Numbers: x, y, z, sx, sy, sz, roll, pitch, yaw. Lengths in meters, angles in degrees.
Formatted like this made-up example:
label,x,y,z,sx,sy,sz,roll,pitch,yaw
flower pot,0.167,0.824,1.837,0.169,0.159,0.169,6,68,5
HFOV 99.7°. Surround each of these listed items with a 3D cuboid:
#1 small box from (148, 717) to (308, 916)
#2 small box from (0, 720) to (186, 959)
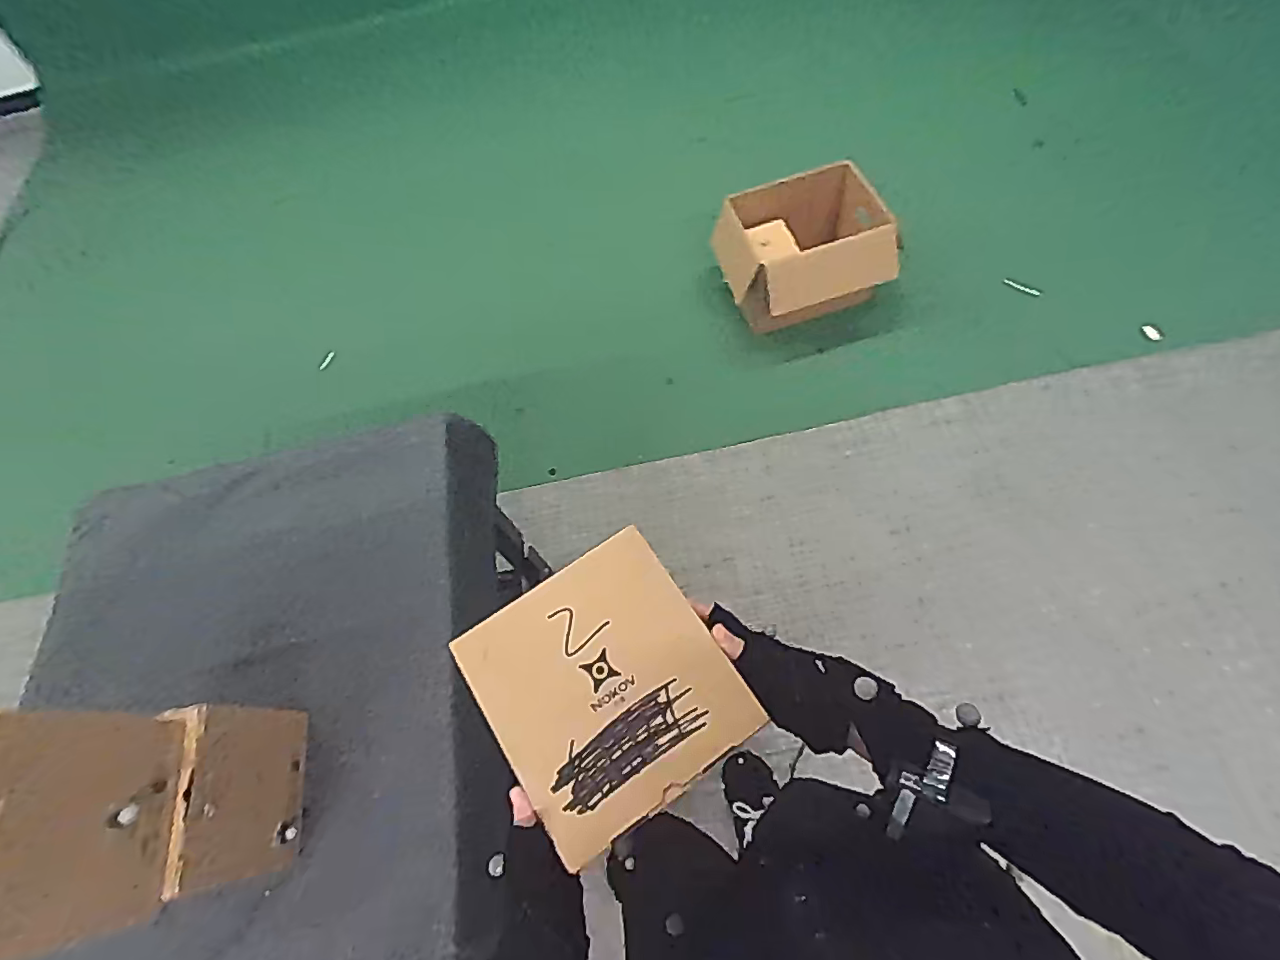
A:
label,x,y,z,sx,sy,sz,roll,pitch,yaw
small box,-0.499,0.364,0.589,0.179,0.176,0.168,-14,62,2
small box,-0.531,0.306,0.438,0.179,0.176,0.168,-15,63,0
